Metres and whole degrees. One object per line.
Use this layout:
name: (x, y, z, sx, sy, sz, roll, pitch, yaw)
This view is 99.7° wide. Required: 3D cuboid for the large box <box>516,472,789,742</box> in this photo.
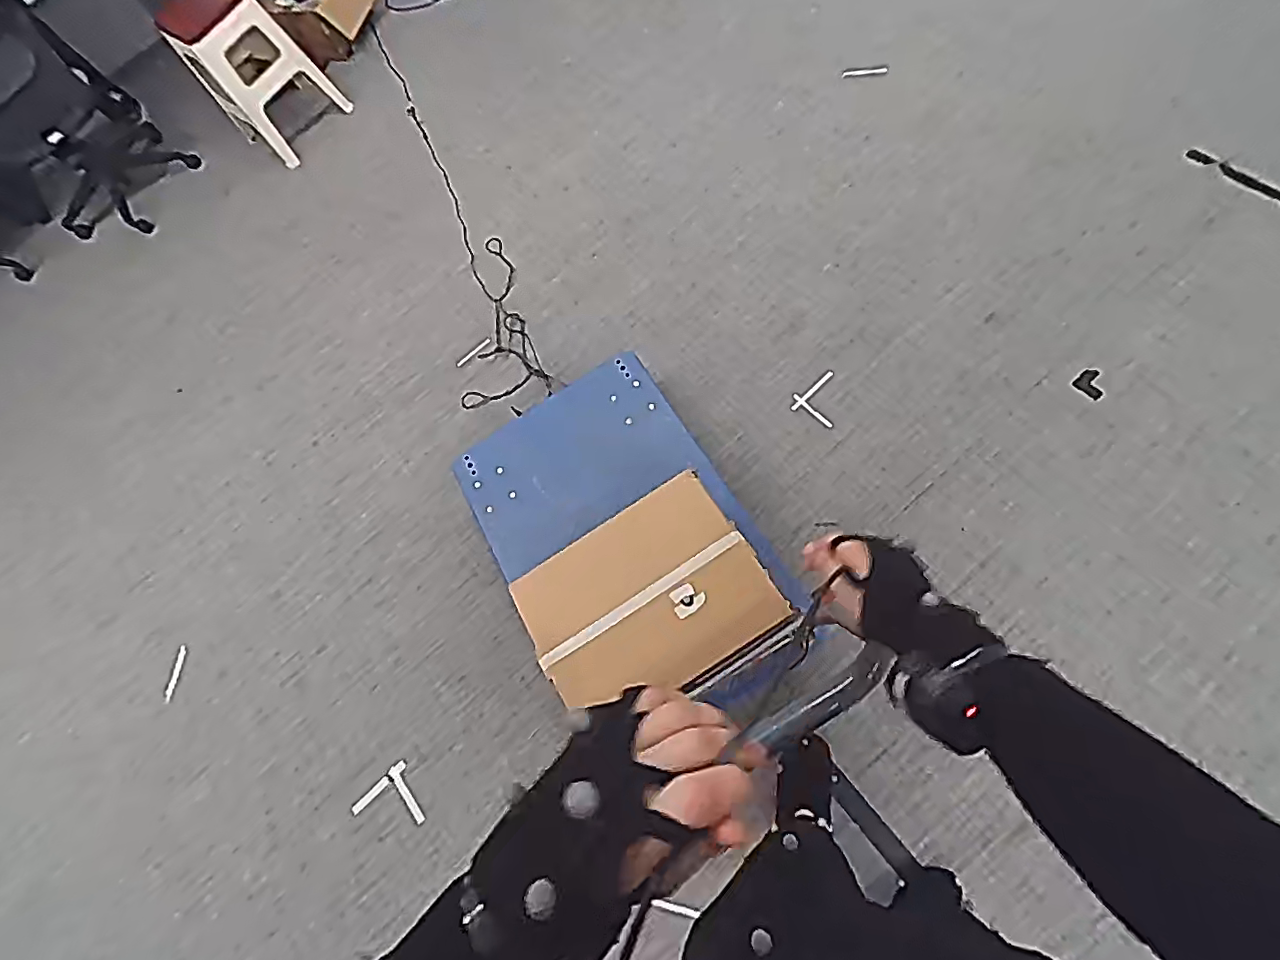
large box: (0.036, 0.258, 1.085, 0.408, 0.320, 0.320, -33, 69, -1)
